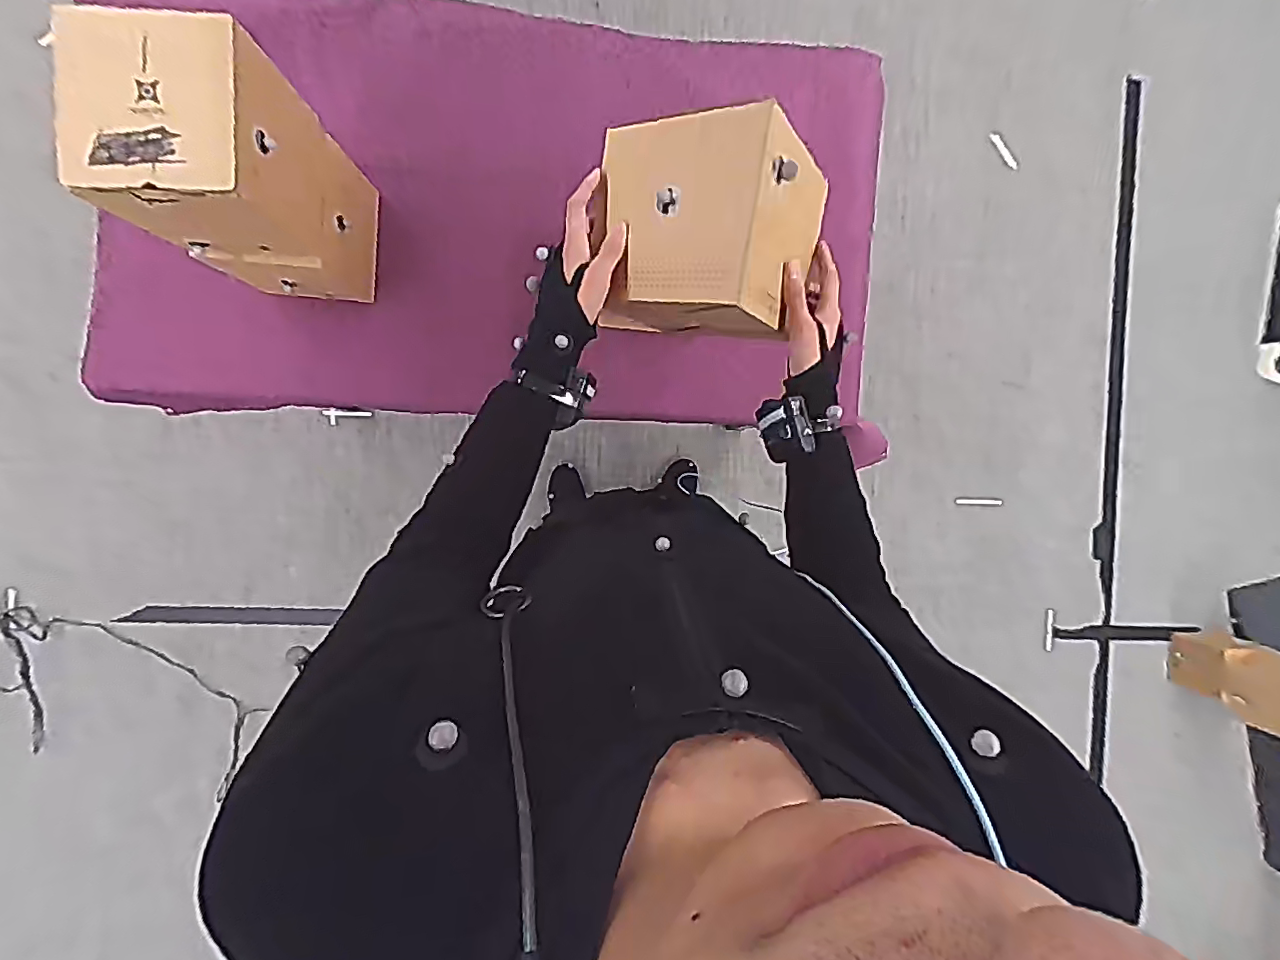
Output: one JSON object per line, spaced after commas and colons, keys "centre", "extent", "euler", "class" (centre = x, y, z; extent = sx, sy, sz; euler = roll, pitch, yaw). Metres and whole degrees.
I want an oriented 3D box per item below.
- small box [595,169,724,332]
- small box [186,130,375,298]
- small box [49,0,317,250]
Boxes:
{"centre": [0.022, -0.329, 0.813], "extent": [0.168, 0.176, 0.179], "euler": [4, 92, -4], "class": "small box"}
{"centre": [-0.495, -0.370, 0.767], "extent": [0.168, 0.176, 0.179], "euler": [4, 93, -5], "class": "small box"}
{"centre": [-0.485, -0.373, 0.602], "extent": [0.168, 0.176, 0.179], "euler": [0, 92, -5], "class": "small box"}
